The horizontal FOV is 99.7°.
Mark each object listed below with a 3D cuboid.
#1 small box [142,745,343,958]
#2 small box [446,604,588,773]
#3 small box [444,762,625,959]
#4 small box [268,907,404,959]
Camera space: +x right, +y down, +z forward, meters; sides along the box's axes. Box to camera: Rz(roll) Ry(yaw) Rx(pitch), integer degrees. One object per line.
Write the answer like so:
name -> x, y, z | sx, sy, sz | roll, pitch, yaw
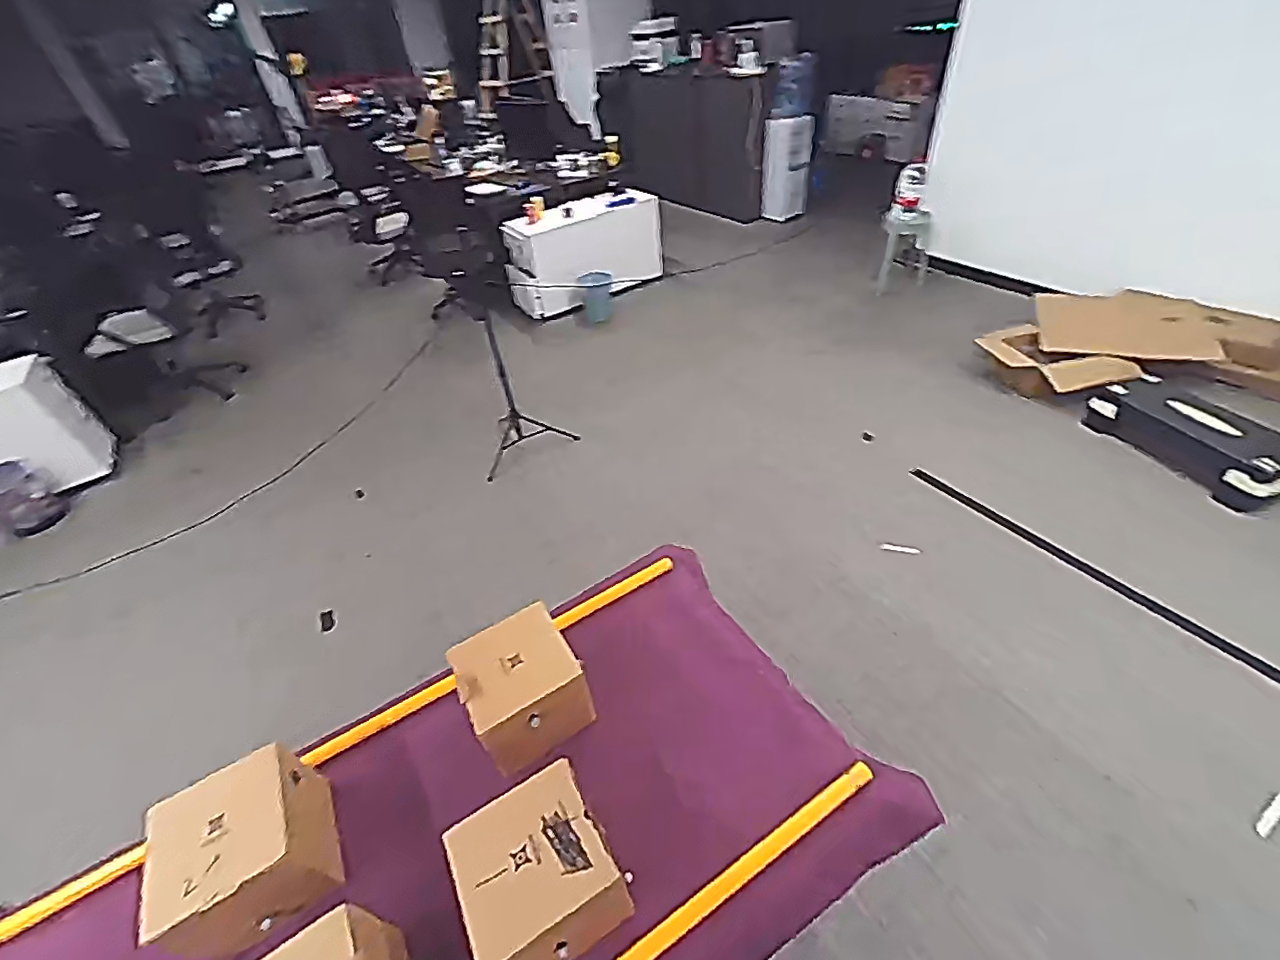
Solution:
small box -> -0.556, 0.529, 0.774 | 0.168, 0.176, 0.179 | -27, 46, -20
small box -> -0.200, 0.354, 0.920 | 0.179, 0.176, 0.168 | -27, 46, -19
small box -> -0.131, 0.523, 0.717 | 0.179, 0.176, 0.168 | -26, 43, -18
small box -> -0.368, 0.645, 0.616 | 0.179, 0.176, 0.168 | -27, 45, -22
